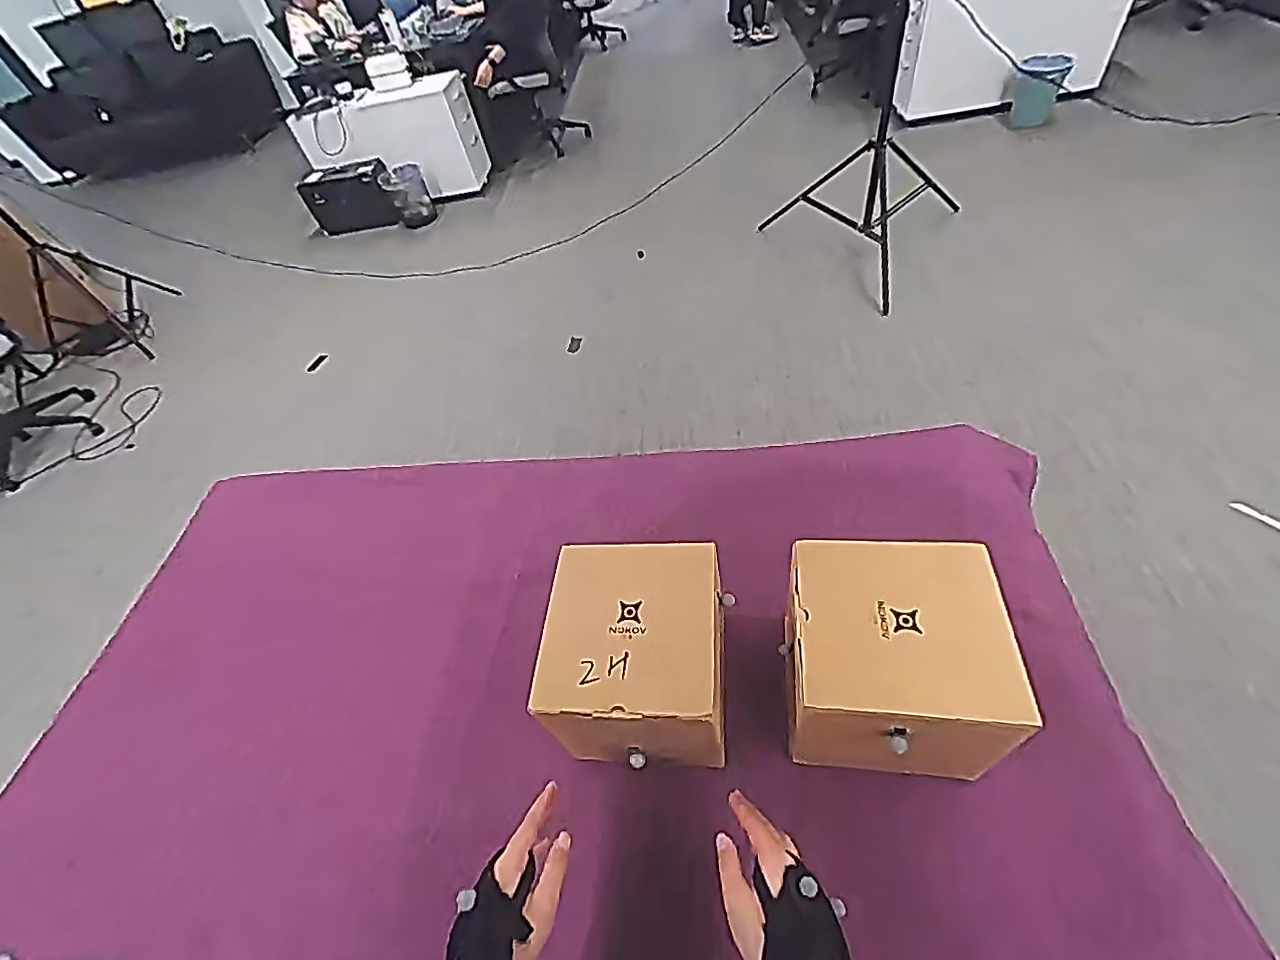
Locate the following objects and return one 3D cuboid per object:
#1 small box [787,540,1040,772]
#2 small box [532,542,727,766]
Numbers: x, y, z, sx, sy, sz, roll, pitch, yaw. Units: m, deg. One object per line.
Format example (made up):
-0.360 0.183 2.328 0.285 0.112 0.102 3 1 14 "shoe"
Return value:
0.242 0.175 0.534 0.179 0.176 0.168 -1 49 12 "small box"
0.004 0.184 0.576 0.168 0.176 0.179 -2 50 11 "small box"
